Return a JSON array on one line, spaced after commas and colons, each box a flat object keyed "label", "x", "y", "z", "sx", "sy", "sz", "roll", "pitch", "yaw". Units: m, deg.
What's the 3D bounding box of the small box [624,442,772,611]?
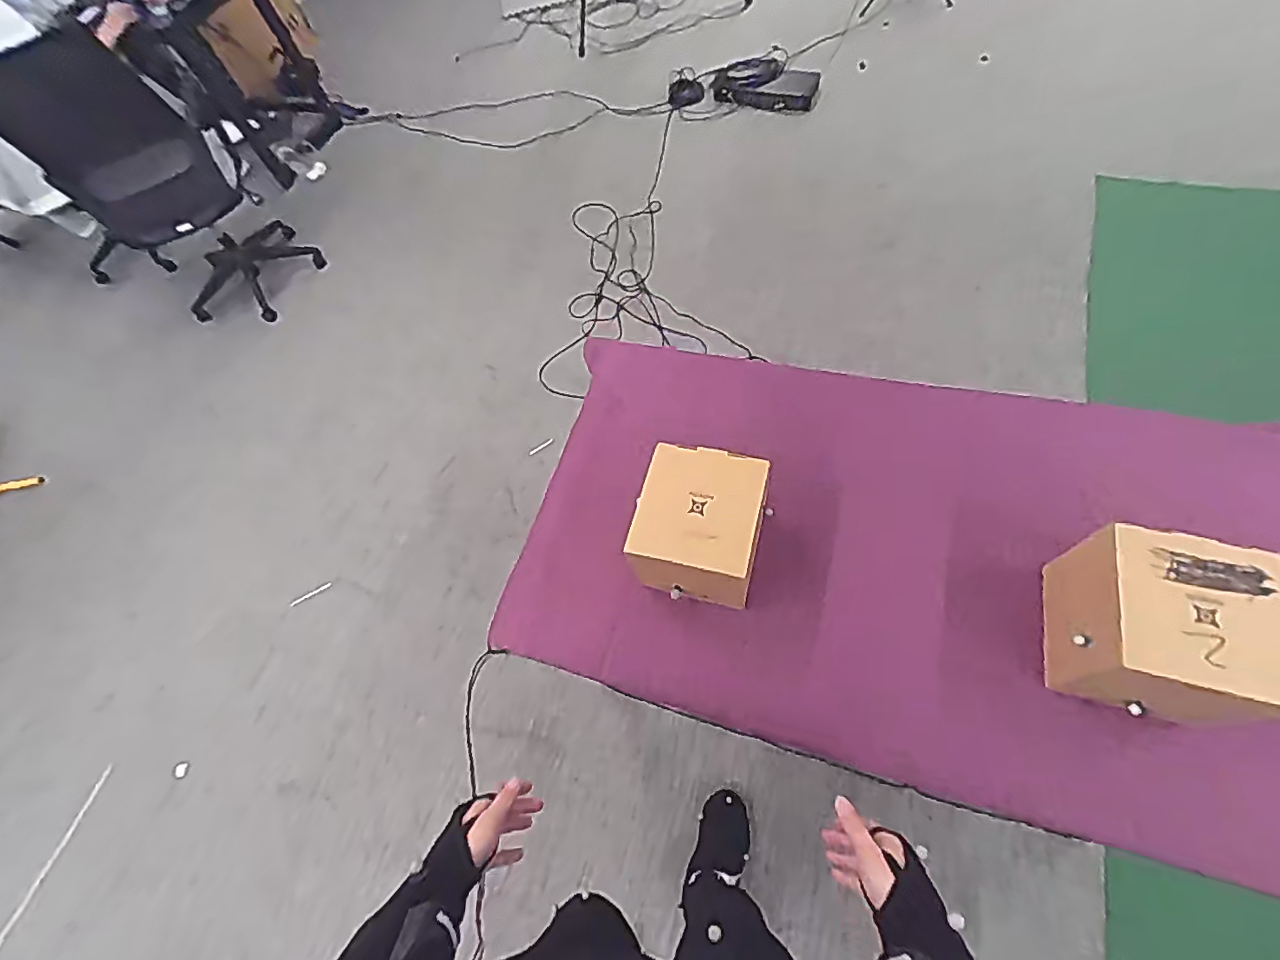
[{"label": "small box", "x": 0.090, "y": 0.072, "z": 0.792, "sx": 0.168, "sy": 0.176, "sz": 0.179, "roll": 12, "pitch": 65, "yaw": 15}]
